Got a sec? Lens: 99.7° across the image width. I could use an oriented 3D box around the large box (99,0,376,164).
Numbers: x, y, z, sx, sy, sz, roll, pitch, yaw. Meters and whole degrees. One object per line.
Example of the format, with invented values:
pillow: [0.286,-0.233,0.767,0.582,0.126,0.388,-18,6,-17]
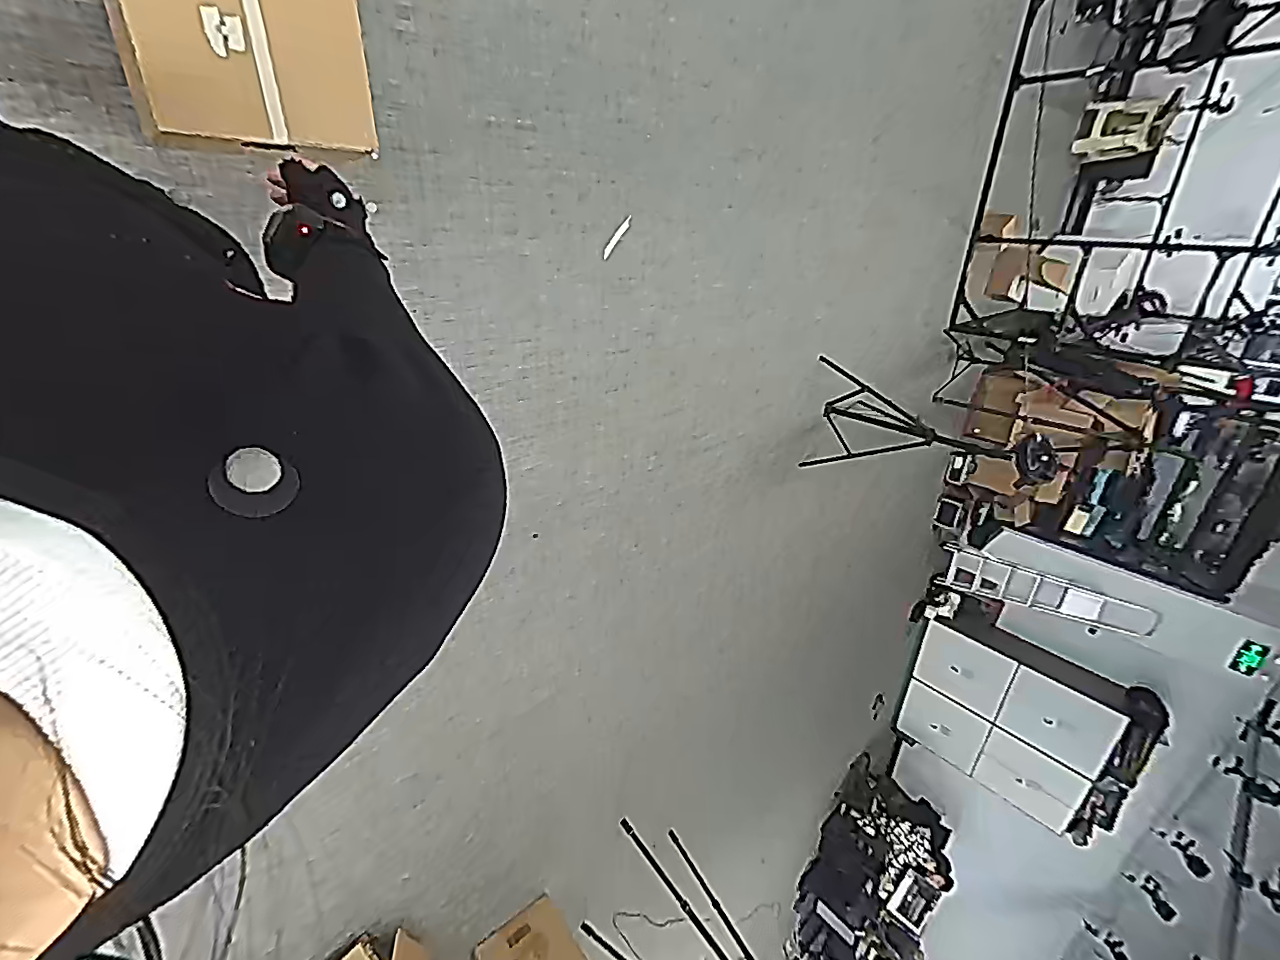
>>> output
large box: [-0.691,-0.777,0.905,0.320,0.320,0.408,-20,123,-37]
